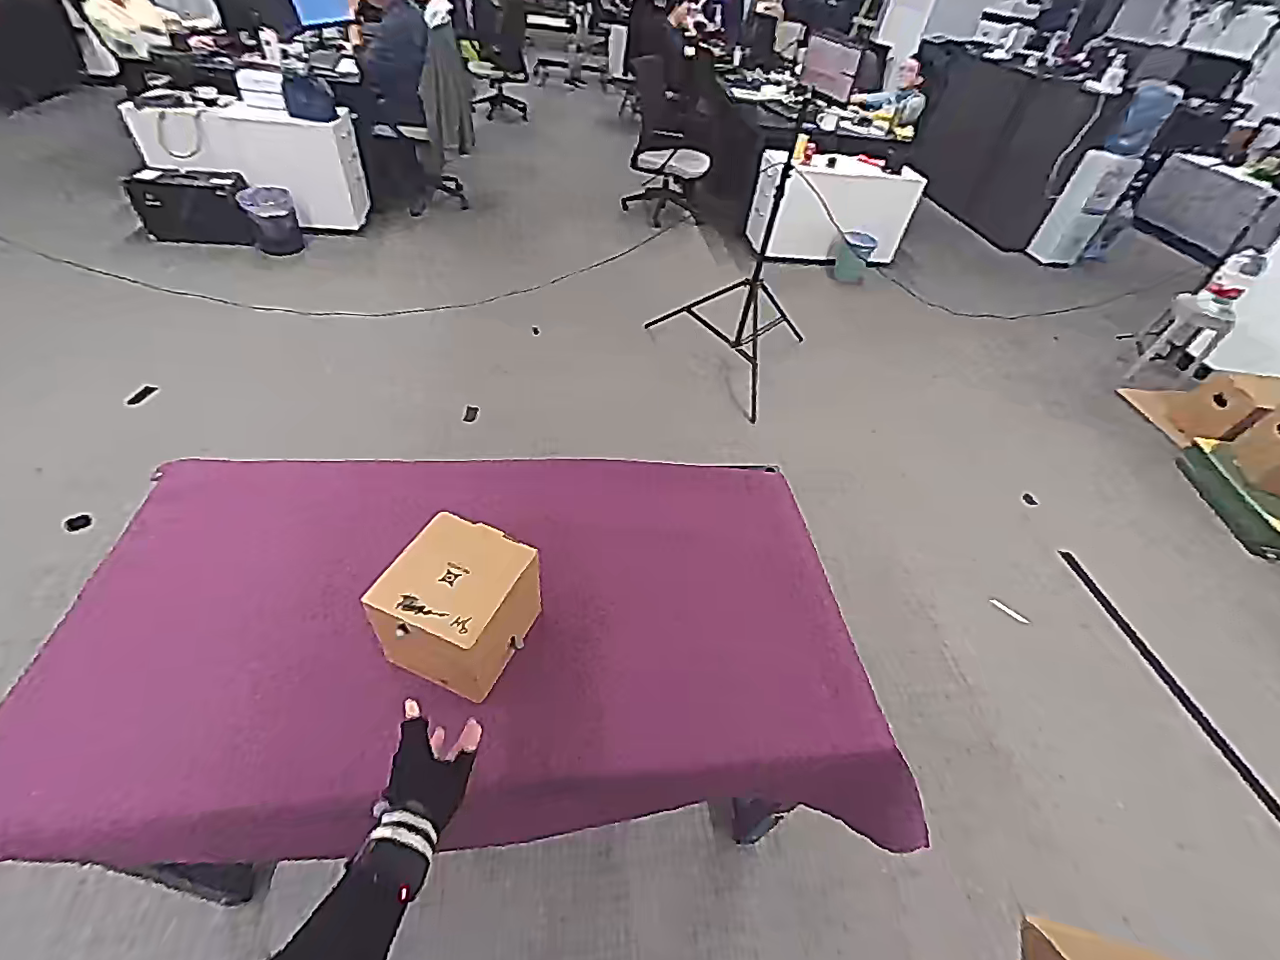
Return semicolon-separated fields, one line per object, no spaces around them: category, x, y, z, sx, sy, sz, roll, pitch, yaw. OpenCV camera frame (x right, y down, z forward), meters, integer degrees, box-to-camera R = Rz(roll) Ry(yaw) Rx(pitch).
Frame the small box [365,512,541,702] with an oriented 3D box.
small box;-0.259;0.184;0.788;0.168;0.176;0.179;20;45;11
